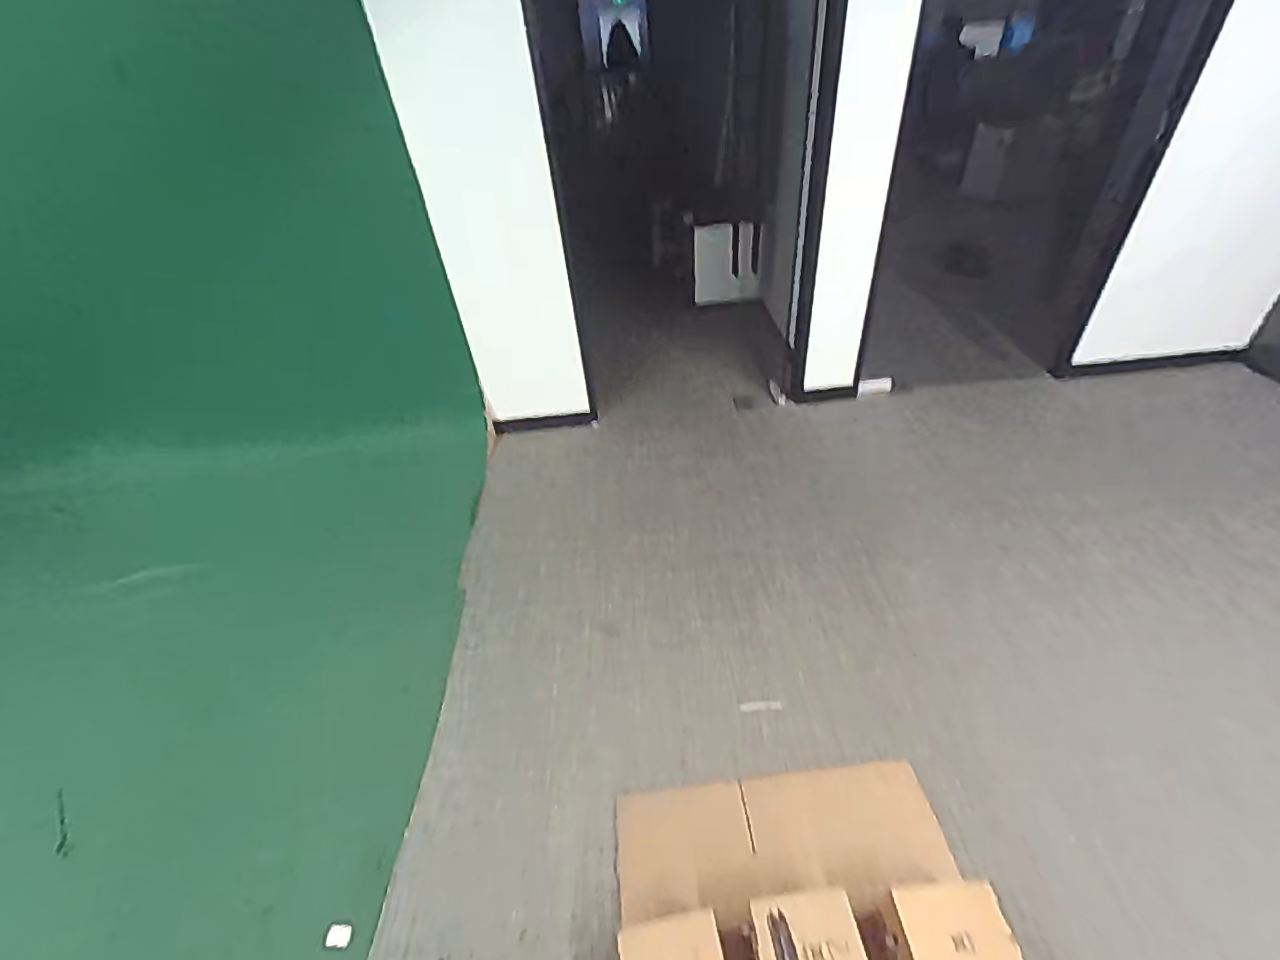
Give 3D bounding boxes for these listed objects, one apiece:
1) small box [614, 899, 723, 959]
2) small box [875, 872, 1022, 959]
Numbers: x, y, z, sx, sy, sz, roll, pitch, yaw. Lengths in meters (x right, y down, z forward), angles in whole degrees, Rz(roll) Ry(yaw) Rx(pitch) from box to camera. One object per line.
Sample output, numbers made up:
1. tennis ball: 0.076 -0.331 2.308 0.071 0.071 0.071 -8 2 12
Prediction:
1. small box: 0.058 0.869 0.942 0.179 0.176 0.168 -9 41 -5
2. small box: 0.531 0.814 0.945 0.179 0.176 0.168 -5 39 0
